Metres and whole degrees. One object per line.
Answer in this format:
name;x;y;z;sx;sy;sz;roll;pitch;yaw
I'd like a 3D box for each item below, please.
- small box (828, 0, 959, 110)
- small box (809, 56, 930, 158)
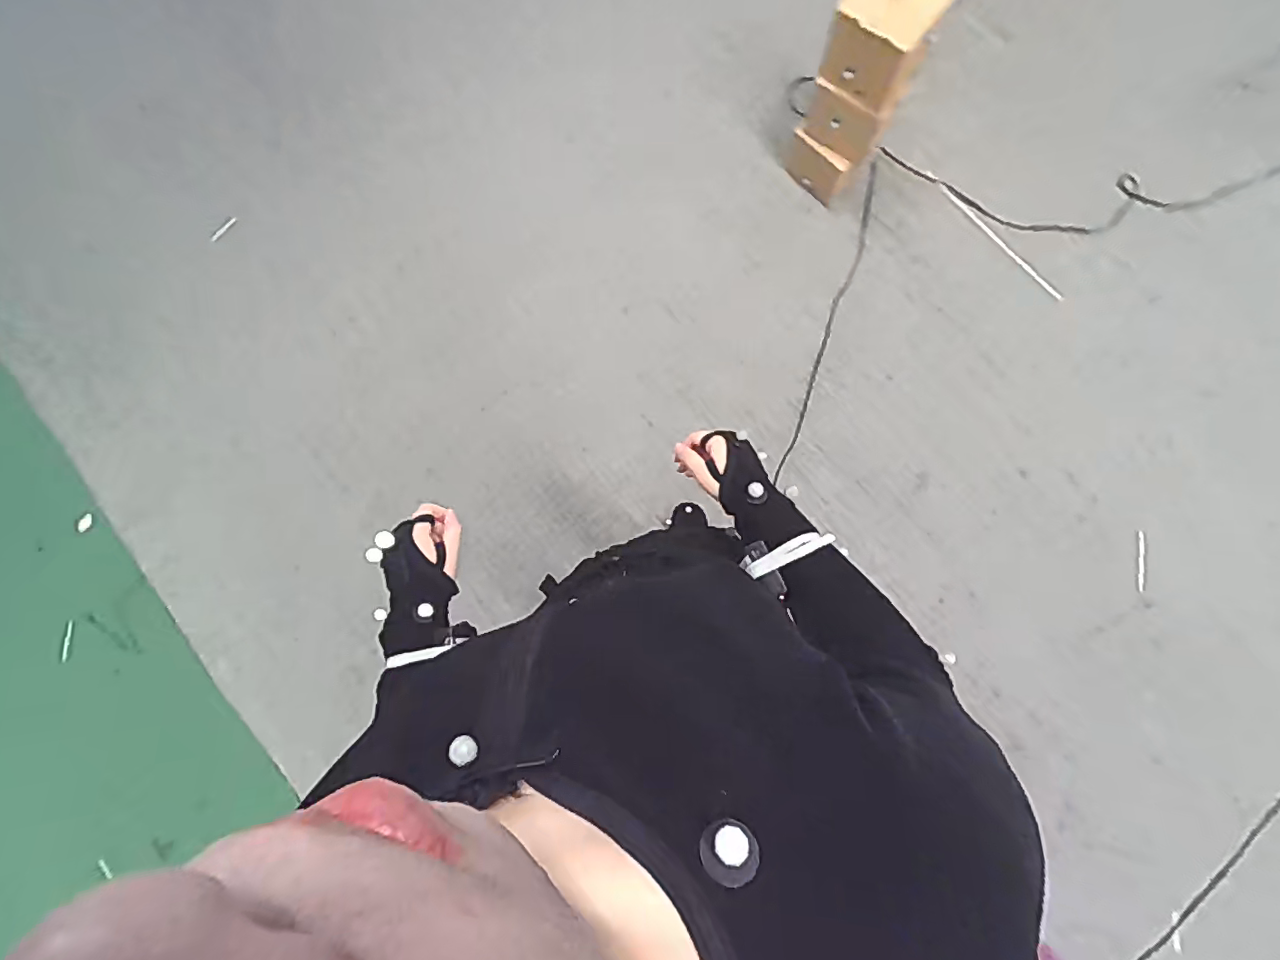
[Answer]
small box;0.504;-0.907;1.084;0.168;0.176;0.179;40;94;8
small box;0.518;-0.887;1.246;0.179;0.176;0.168;36;92;9
